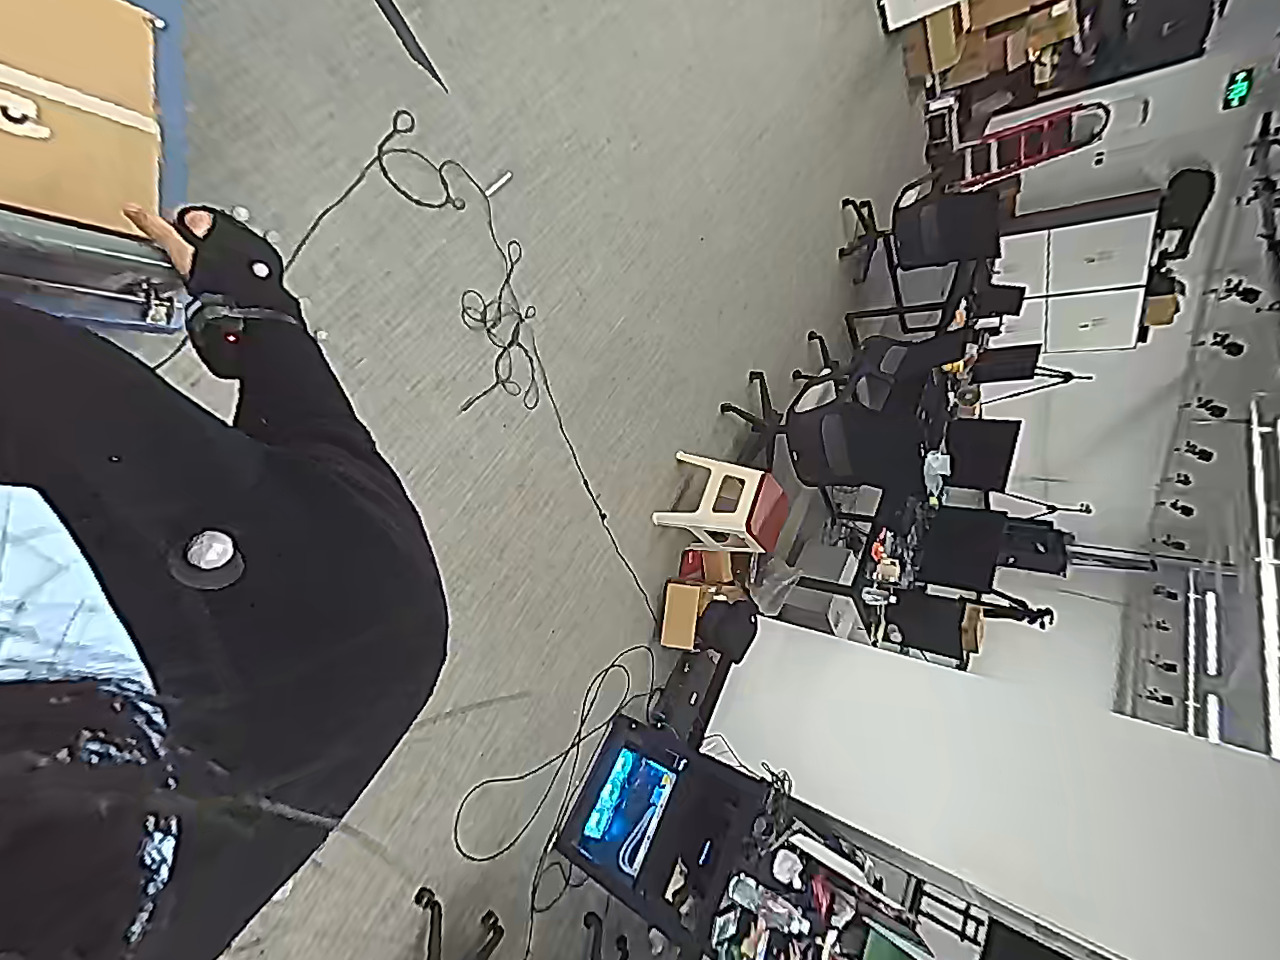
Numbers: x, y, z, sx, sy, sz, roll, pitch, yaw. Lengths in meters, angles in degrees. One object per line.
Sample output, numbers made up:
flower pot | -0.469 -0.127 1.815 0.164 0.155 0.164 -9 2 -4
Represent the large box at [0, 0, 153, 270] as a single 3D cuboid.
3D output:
large box | -0.947 -0.503 0.711 0.408 0.320 0.320 -3 98 -52
